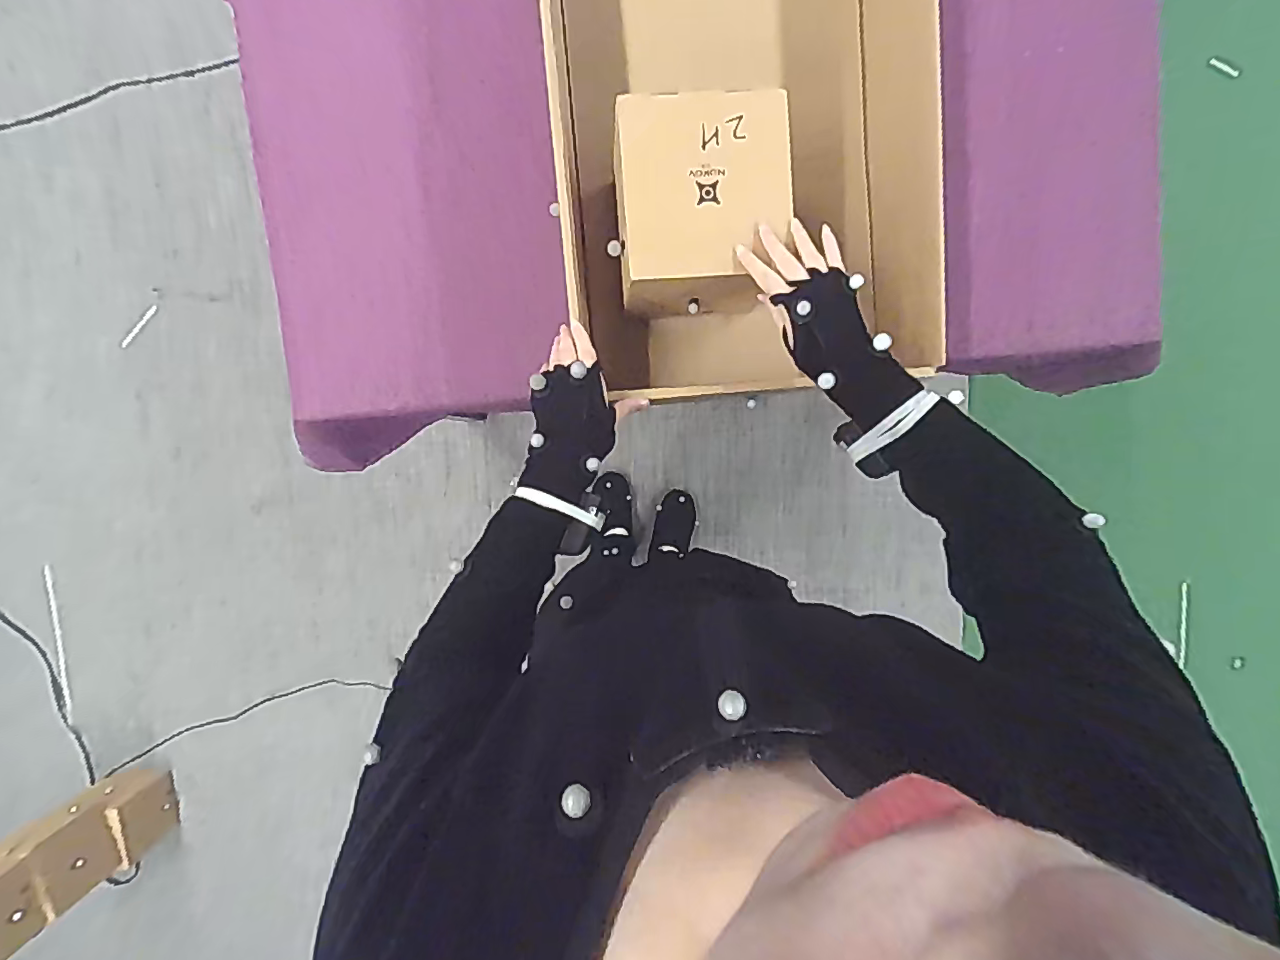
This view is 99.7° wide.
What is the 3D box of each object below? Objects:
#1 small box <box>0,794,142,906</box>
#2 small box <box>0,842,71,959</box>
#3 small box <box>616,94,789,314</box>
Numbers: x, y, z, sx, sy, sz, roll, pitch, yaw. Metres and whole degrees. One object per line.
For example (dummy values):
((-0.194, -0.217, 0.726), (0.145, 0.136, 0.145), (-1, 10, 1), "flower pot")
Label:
((-1.382, 0.898, 1.311), (0.168, 0.176, 0.179), (-16, 96, 1), "small box")
((-1.395, 0.916, 1.149), (0.179, 0.176, 0.168), (-12, 95, 0), "small box")
((0.061, -0.291, 0.611), (0.168, 0.176, 0.179), (-4, 94, -2), "small box")
